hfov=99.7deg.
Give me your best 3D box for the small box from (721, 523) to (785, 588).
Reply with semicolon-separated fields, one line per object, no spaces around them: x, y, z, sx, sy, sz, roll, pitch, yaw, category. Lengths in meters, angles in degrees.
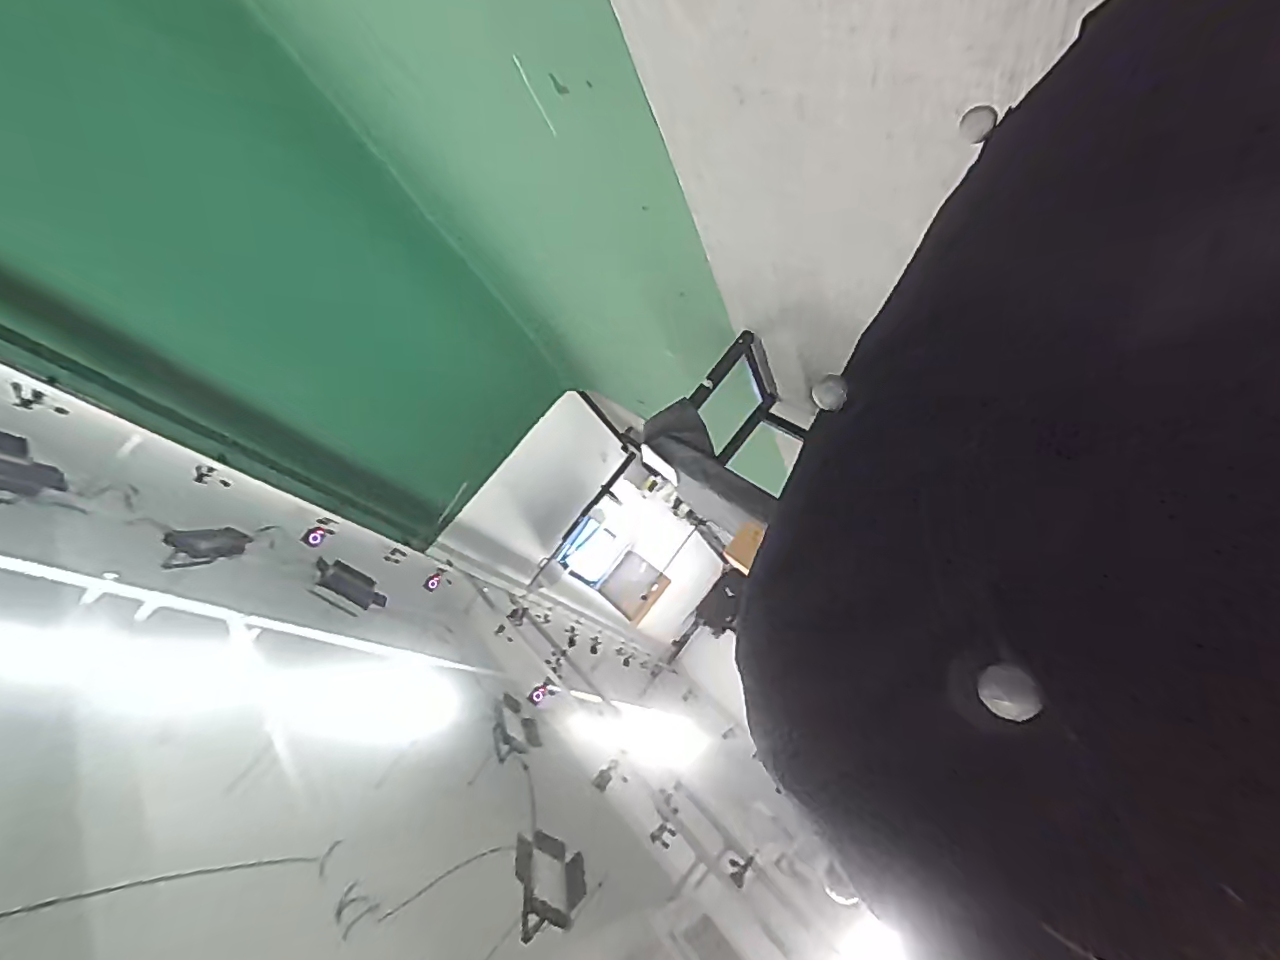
0.454;0.297;2.151;0.168;0.176;0.179;35;173;33;small box
